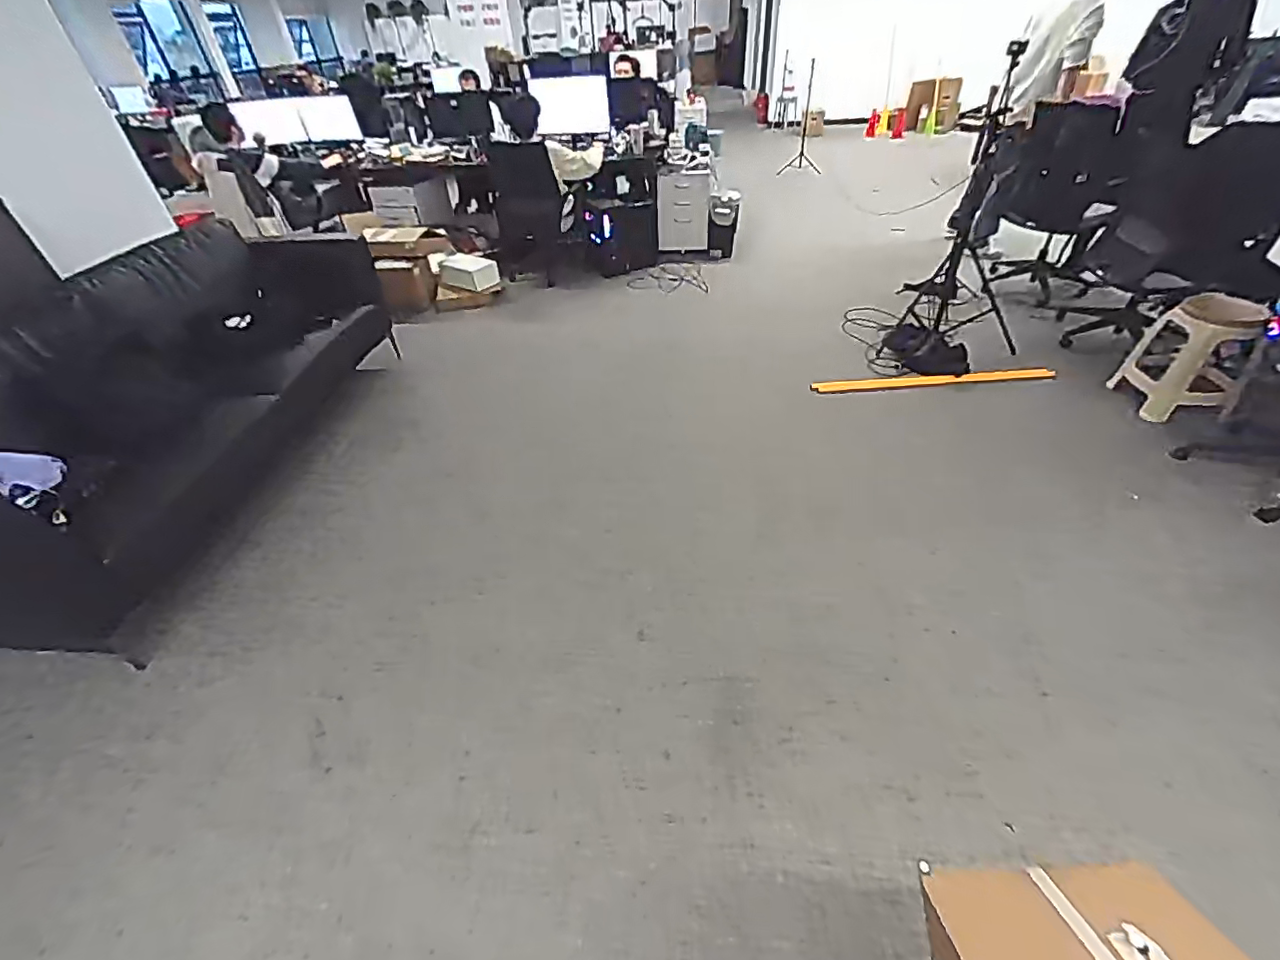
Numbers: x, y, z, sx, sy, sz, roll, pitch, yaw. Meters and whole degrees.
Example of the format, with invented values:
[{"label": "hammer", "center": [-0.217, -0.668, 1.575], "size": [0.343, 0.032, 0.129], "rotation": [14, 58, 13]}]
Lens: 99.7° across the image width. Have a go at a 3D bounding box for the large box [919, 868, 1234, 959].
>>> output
[{"label": "large box", "center": [0.569, 0.738, 0.603], "size": [0.320, 0.320, 0.408], "rotation": [-7, 1, 7]}]
